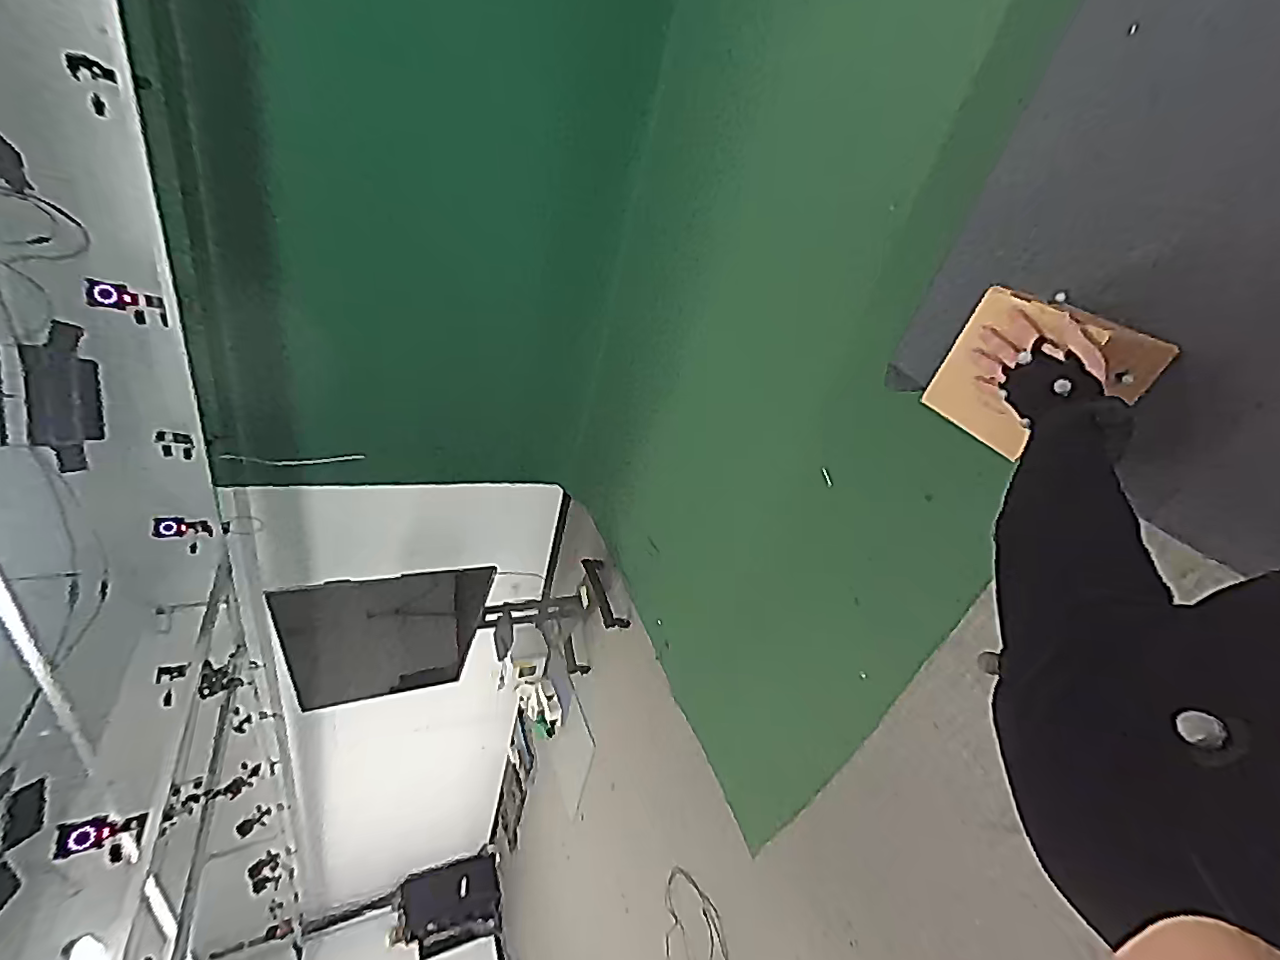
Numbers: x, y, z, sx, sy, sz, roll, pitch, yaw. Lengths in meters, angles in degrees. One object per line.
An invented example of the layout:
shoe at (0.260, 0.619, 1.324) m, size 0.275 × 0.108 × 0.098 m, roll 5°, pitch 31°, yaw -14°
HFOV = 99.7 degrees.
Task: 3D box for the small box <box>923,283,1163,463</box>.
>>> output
small box at (0.539, -0.138, 0.728) m, size 0.168 × 0.176 × 0.179 m, roll -118°, pitch 38°, yaw -46°
